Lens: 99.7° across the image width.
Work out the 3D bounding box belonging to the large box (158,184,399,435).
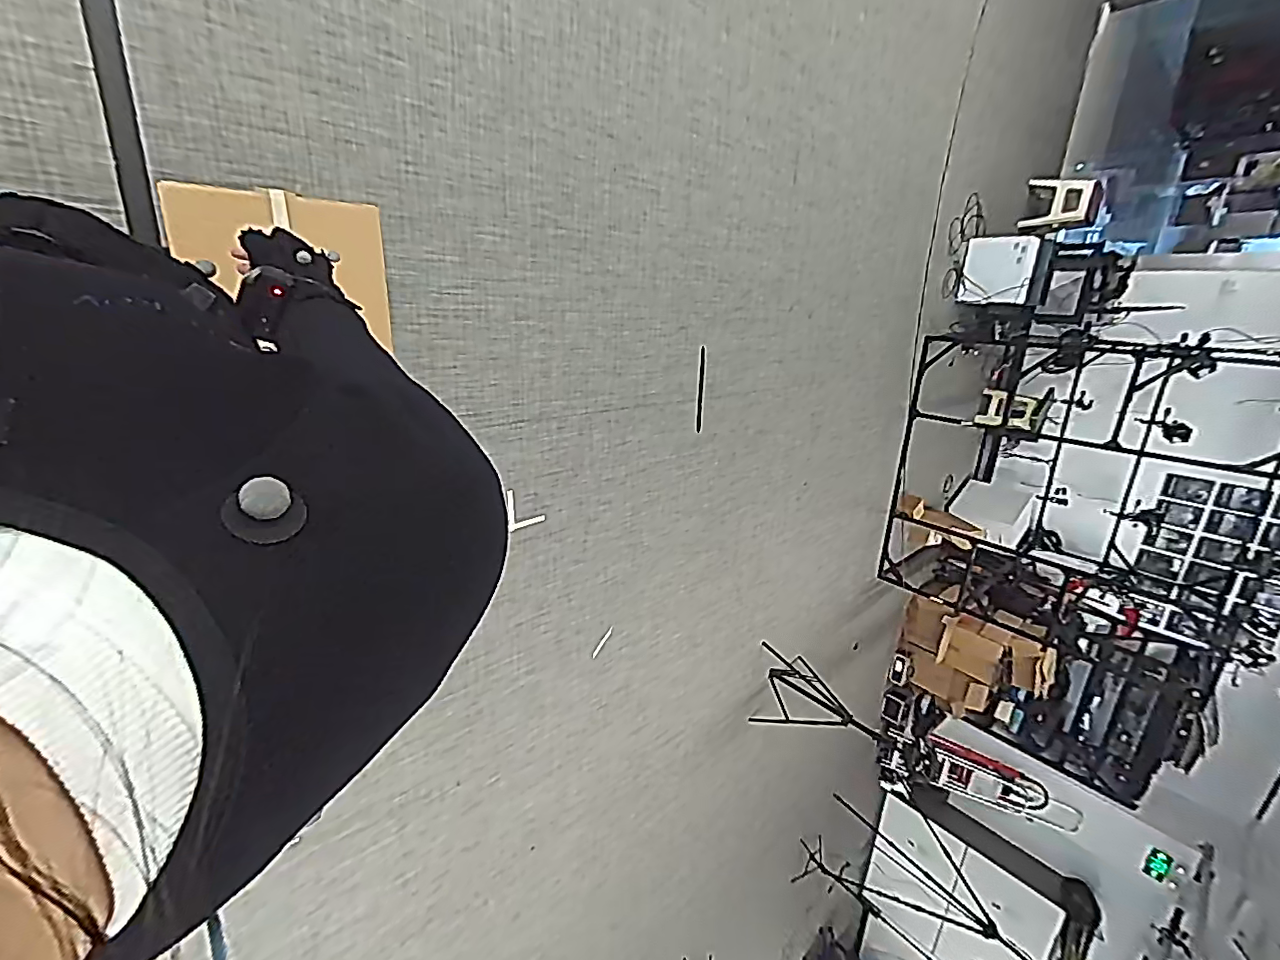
[{"bbox_3d":[-0.703,-0.336,1.080,0.320,0.320,0.408,-11,114,-34],"label":"large box"}]
